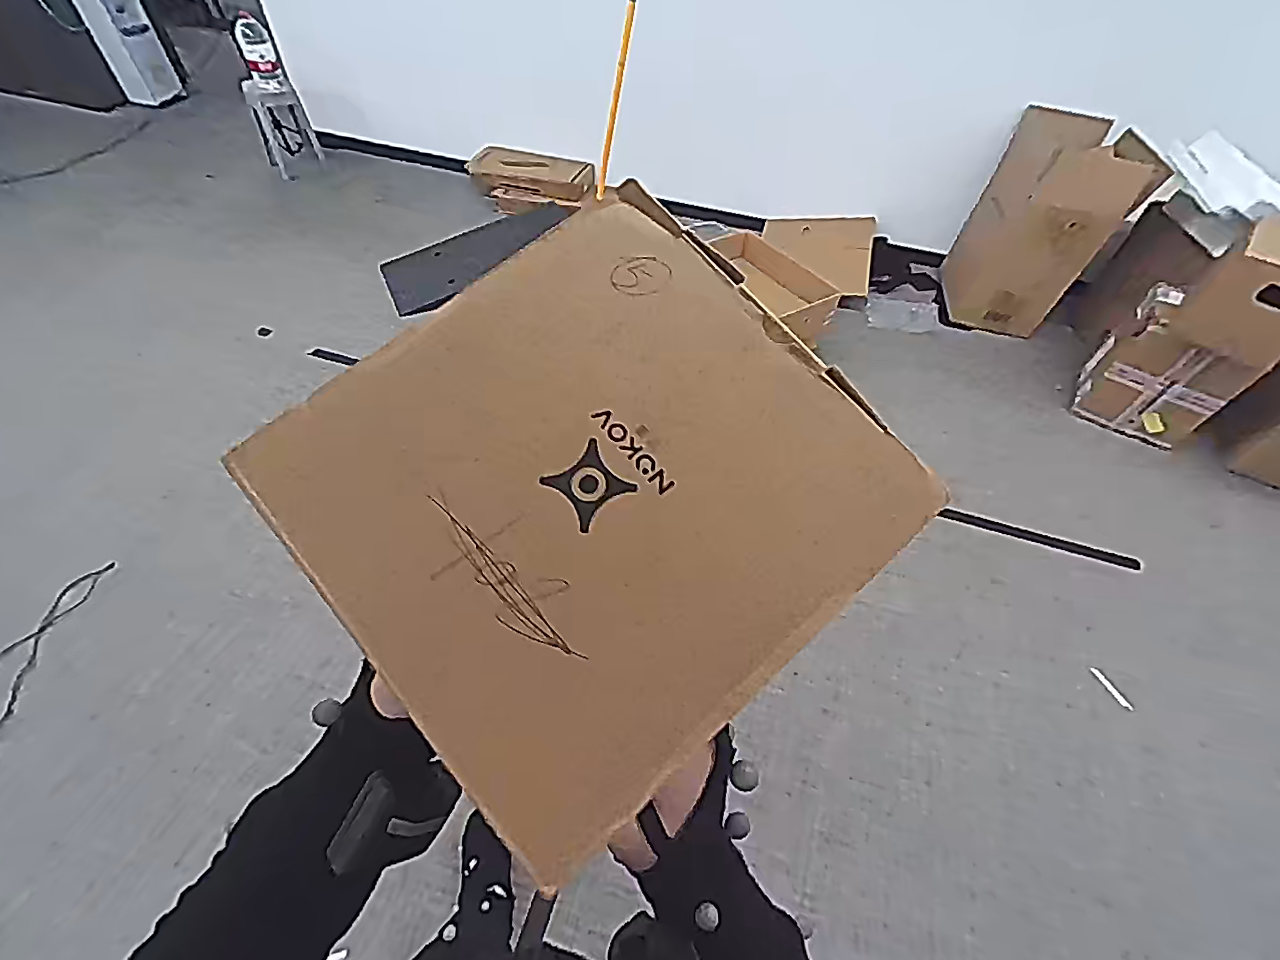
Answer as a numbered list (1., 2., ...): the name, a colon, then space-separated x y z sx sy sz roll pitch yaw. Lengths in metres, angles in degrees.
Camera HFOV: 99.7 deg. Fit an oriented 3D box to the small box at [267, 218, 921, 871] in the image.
1. small box: -0.017 0.025 0.268 0.179 0.176 0.168 -41 80 -11
